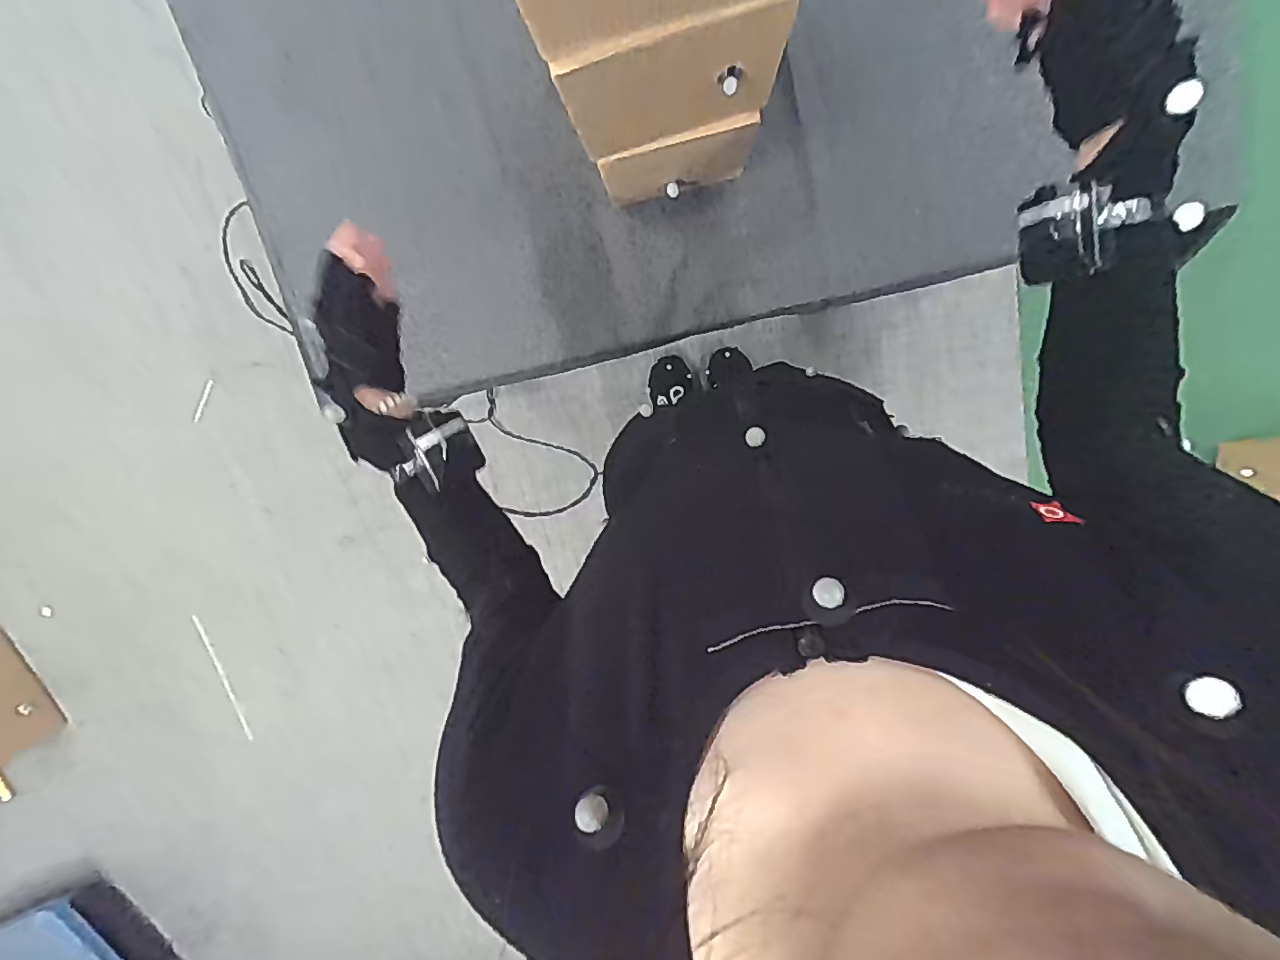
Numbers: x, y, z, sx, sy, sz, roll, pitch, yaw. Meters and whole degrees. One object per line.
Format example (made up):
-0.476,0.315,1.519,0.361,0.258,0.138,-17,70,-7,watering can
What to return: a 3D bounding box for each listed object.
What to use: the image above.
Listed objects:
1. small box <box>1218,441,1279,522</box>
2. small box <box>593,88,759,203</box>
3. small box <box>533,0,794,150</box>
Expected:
1.581,0.001,1.317,0.179,0.176,0.168,-6,102,5,small box
0.023,-0.429,0.583,0.168,0.176,0.179,-11,102,7,small box
0.007,-0.397,0.424,0.179,0.176,0.168,-13,100,7,small box
